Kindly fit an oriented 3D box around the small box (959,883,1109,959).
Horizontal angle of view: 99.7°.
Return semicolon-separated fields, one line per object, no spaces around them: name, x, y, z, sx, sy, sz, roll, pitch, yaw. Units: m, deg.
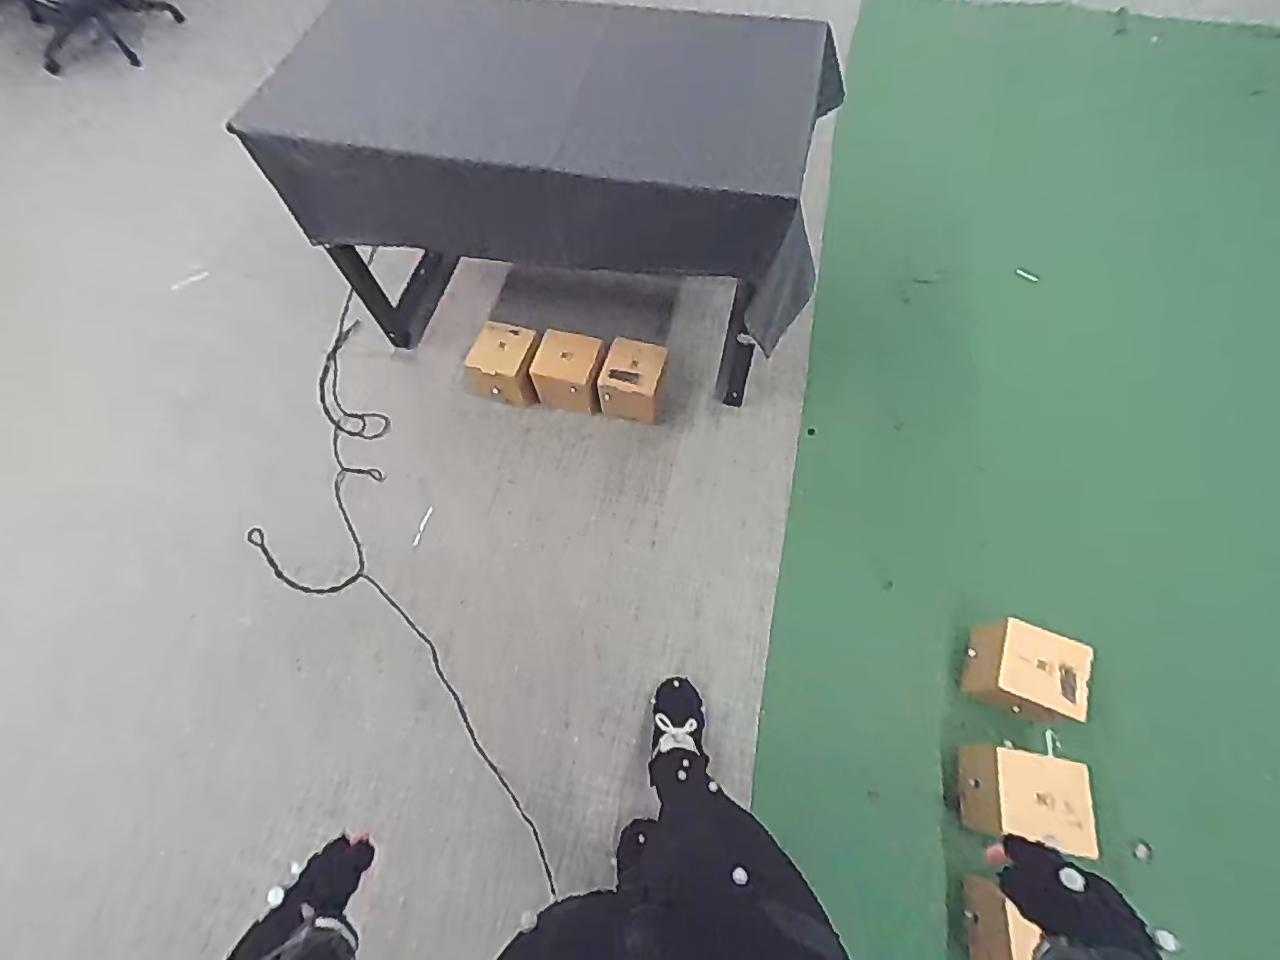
small box;0.743;0.894;1.026;0.179;0.176;0.168;7;64;5

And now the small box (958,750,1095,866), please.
small box;0.790;0.674;1.129;0.179;0.176;0.168;10;66;6

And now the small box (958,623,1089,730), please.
small box;0.868;0.451;1.234;0.179;0.176;0.168;21;66;13
